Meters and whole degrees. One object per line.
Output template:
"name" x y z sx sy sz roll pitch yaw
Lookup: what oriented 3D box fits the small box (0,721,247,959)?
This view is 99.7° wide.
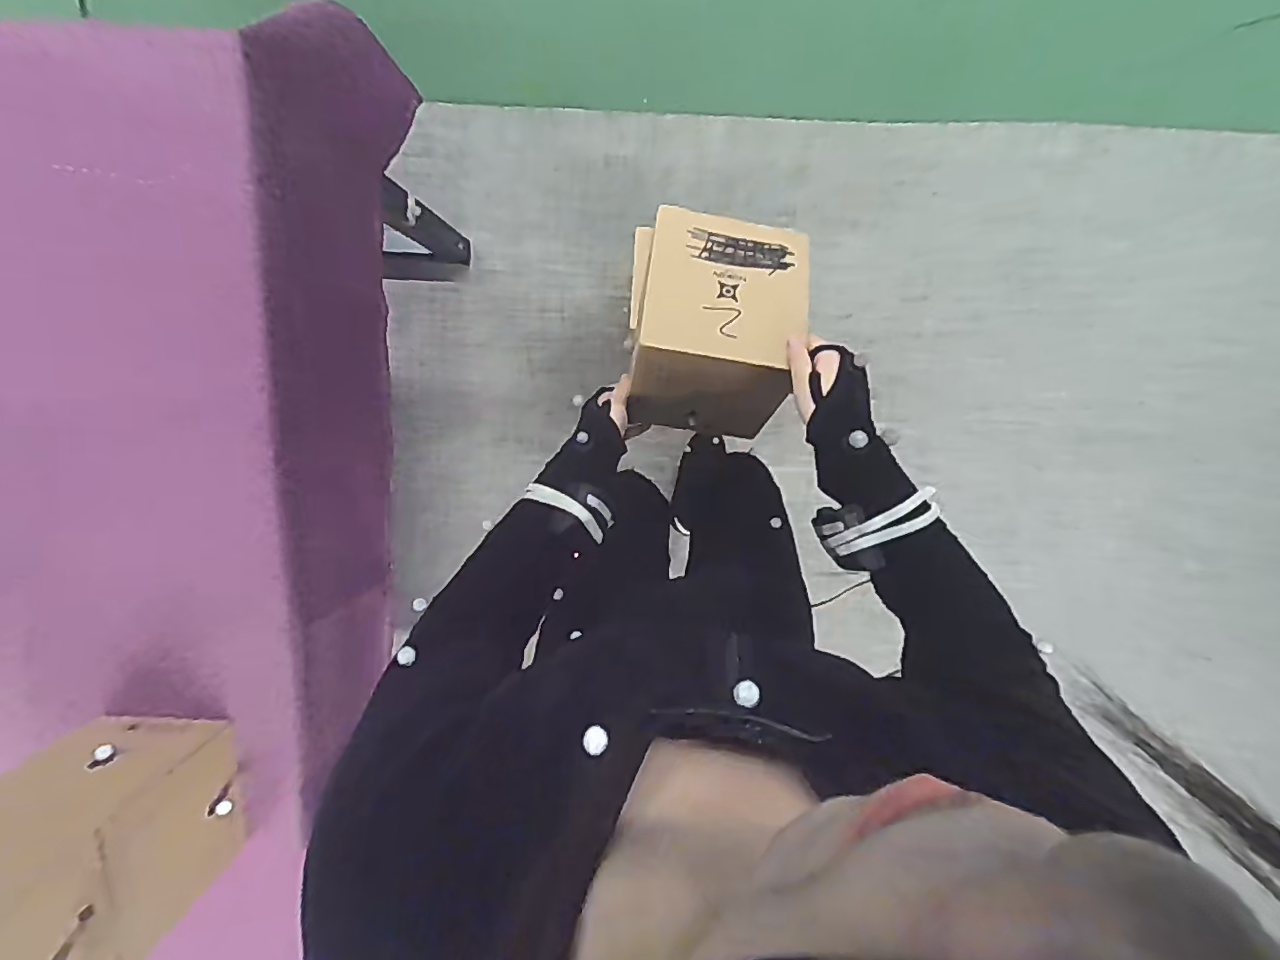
"small box" -0.570 0.386 0.587 0.168 0.176 0.179 1 100 1

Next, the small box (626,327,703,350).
"small box" 0.063 -0.384 1.184 0.168 0.176 0.179 7 100 -1

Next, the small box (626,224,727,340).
"small box" 0.064 -0.363 1.022 0.168 0.176 0.179 4 99 -1
